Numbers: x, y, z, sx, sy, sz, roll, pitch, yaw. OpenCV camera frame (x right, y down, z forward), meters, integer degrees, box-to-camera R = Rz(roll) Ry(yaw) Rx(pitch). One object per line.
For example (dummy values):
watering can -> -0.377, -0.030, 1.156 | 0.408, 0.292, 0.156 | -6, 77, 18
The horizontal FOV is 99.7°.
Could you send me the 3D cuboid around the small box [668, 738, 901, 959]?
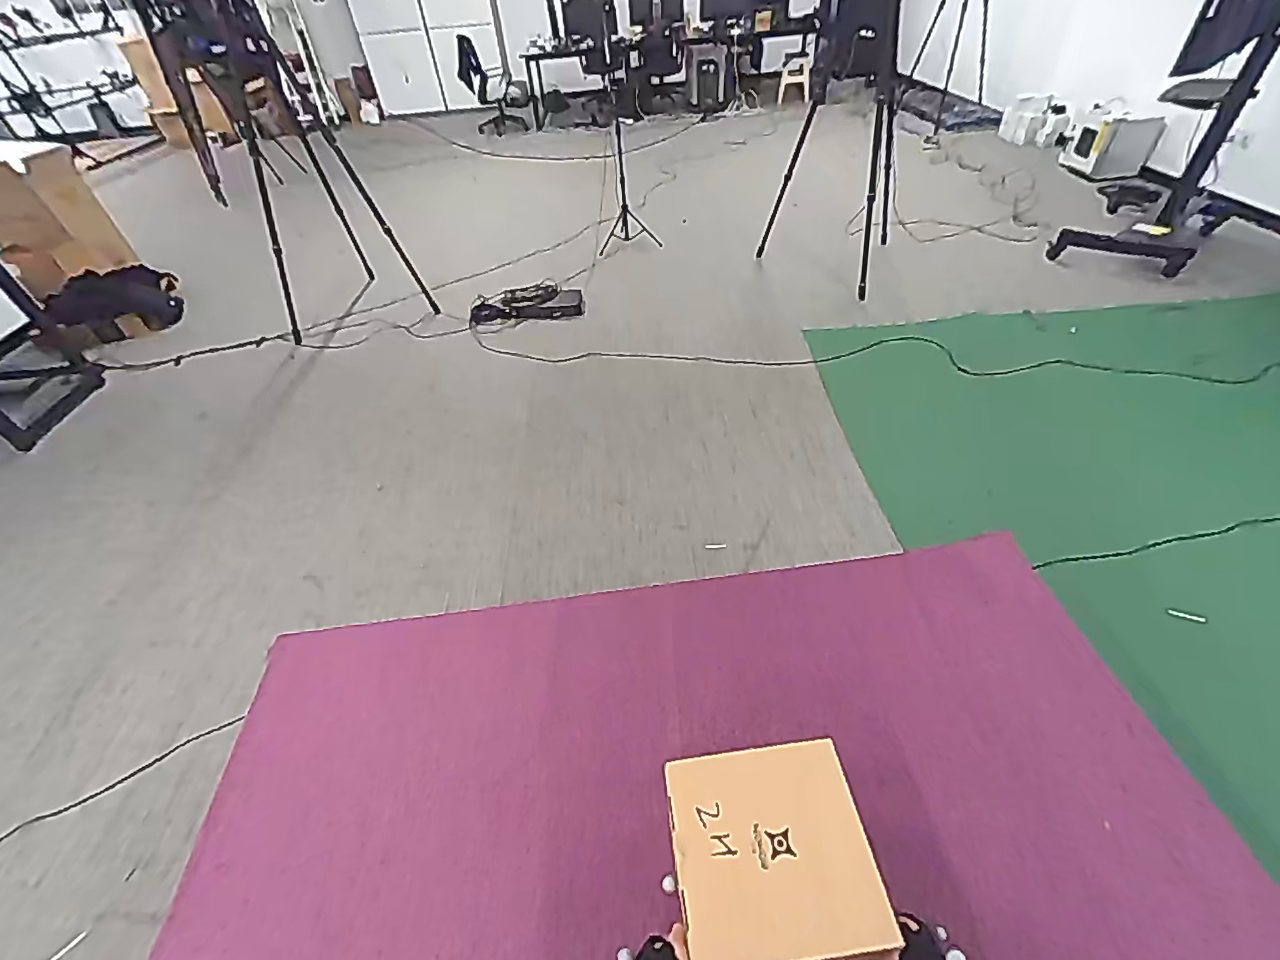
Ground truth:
small box -> 0.128, 0.388, 0.552 | 0.179, 0.176, 0.168 | -8, 44, -1
